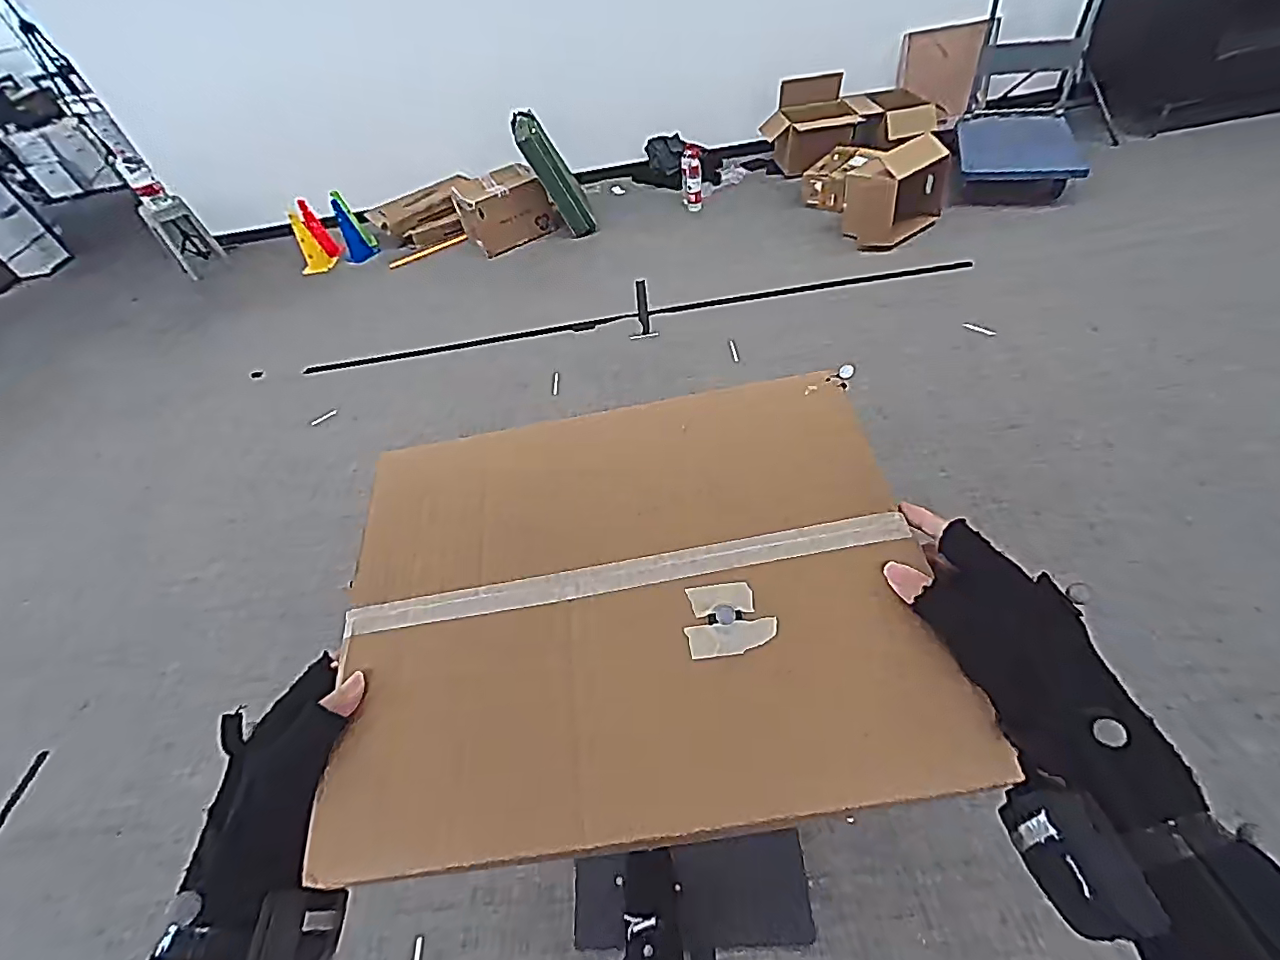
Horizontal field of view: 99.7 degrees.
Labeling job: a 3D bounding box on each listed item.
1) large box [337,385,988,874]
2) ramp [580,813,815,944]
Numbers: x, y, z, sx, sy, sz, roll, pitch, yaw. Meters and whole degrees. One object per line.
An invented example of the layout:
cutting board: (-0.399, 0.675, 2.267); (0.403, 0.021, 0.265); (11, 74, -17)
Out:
large box: (0.009, 0.157, 0.525); (0.408, 0.320, 0.320); (-10, 56, 2)
ramp: (0.097, 0.518, 1.364); (0.509, 0.206, 0.991); (-7, 48, 4)
